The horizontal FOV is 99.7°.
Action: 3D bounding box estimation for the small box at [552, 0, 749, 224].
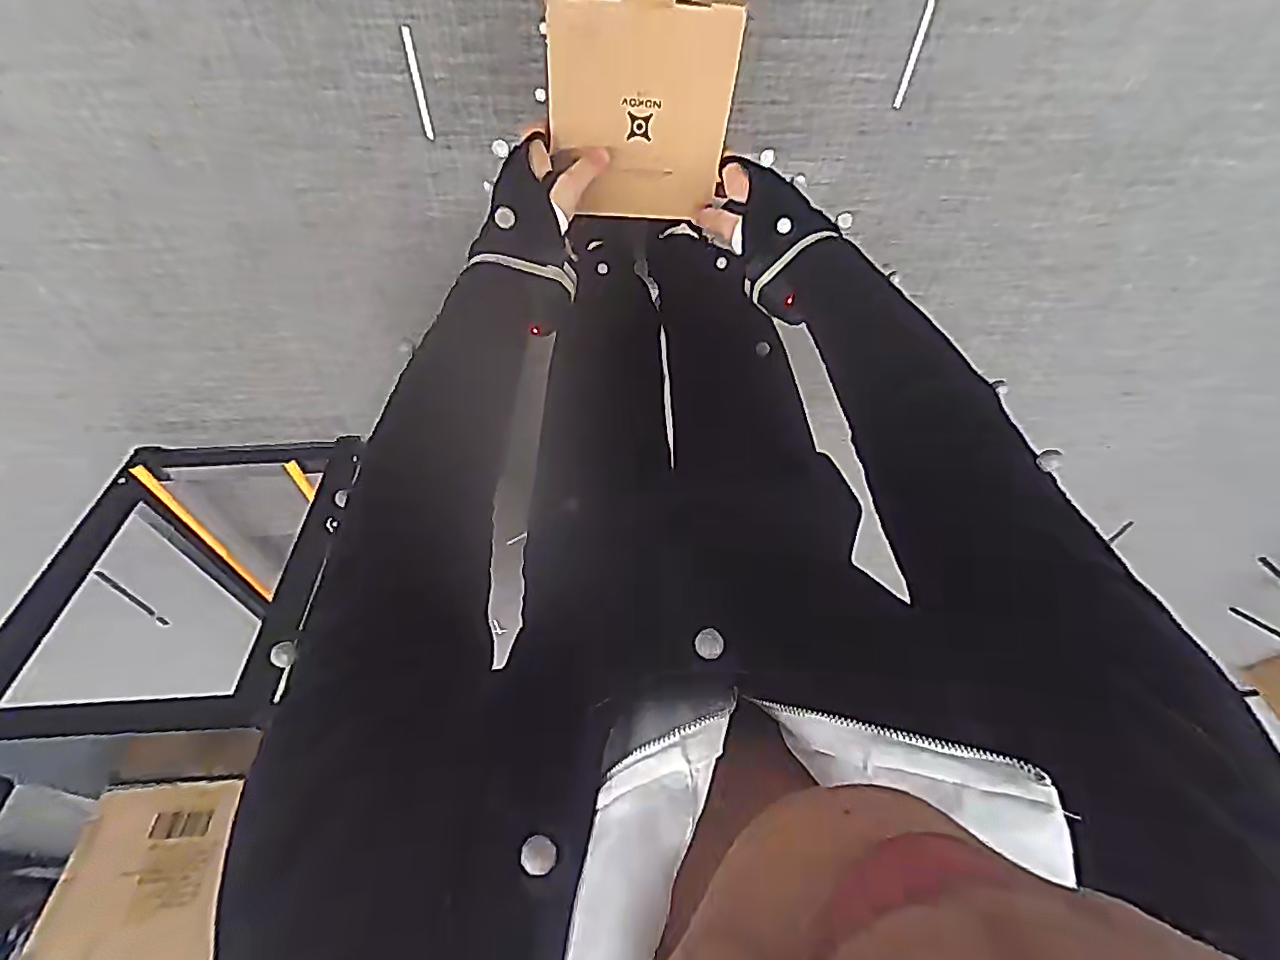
[{"bbox_3d":[-0.004,-0.387,0.546,0.168,0.176,0.179,0,140,-6],"label":"small box"}]
